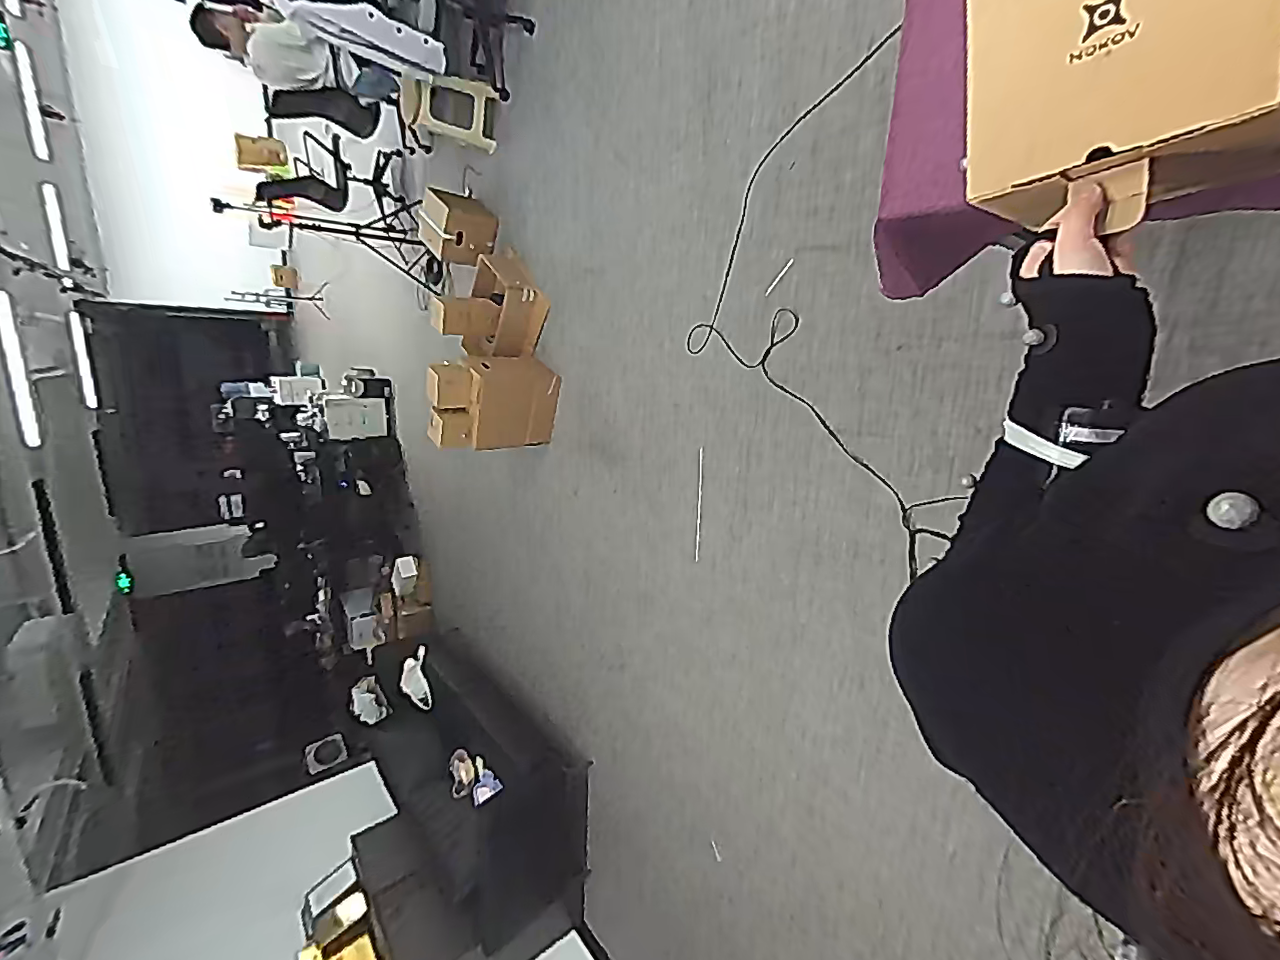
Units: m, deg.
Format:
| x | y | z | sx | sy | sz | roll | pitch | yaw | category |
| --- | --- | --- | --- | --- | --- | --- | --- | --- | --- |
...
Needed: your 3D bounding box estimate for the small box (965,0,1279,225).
| x | y | z | sx | sy | sz | roll | pitch | yaw | category |
| --- | --- | --- | --- | --- | --- | --- | --- | --- | --- |
| 0.378 | -0.324 | 0.426 | 0.168 | 0.176 | 0.179 | 5 | 104 | 50 | small box |
